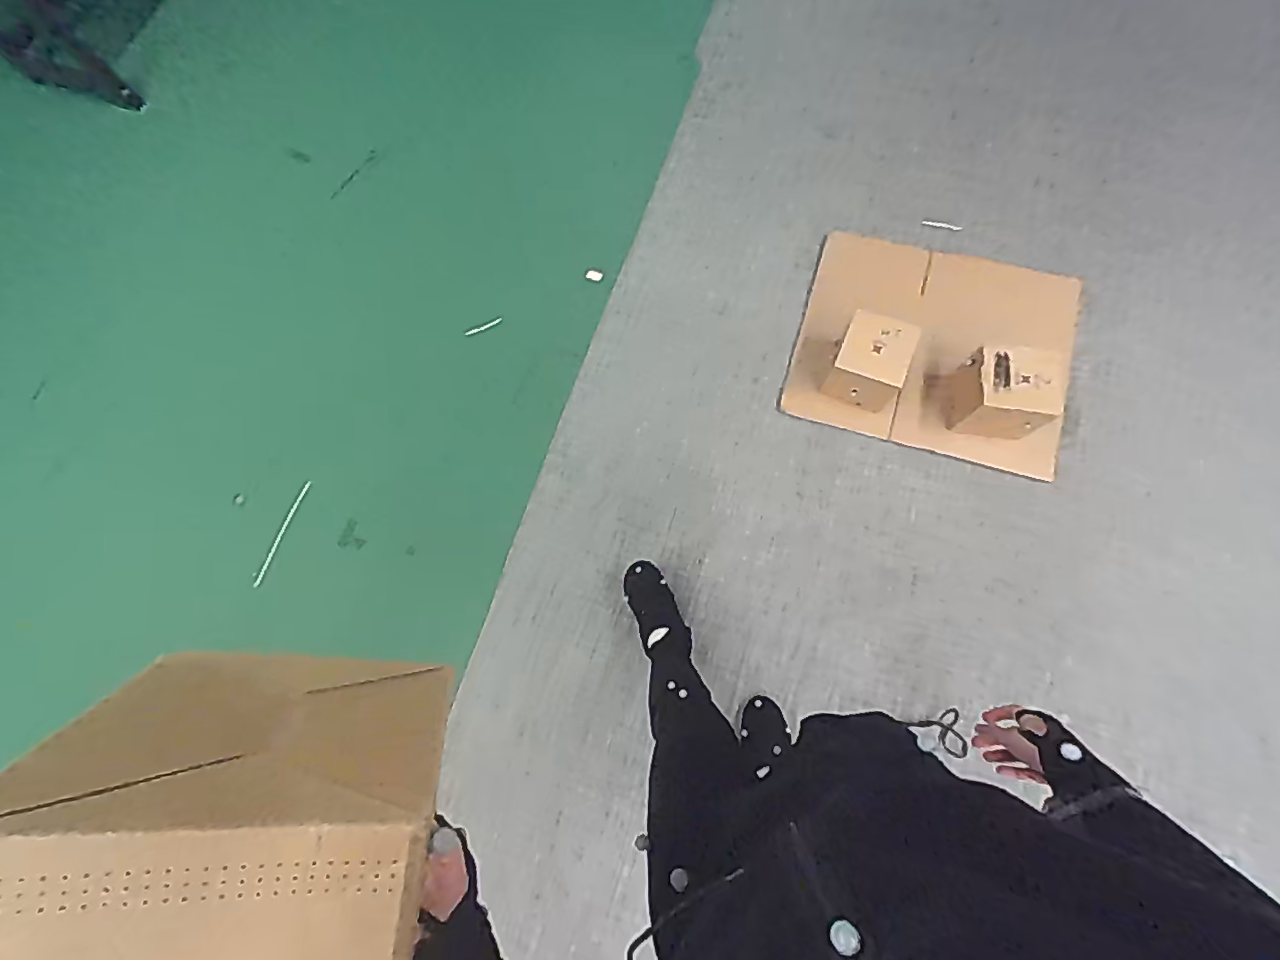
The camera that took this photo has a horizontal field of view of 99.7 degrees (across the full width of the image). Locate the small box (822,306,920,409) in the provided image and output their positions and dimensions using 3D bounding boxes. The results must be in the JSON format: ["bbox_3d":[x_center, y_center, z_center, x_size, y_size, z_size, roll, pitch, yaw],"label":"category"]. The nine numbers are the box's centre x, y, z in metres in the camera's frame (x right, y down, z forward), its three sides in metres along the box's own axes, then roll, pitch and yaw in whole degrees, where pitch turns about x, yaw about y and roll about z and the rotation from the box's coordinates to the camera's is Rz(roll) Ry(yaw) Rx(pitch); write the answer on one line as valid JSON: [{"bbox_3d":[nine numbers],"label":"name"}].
[{"bbox_3d":[0.586,-0.308,1.396,0.168,0.176,0.179,22,77,10],"label":"small box"}]
